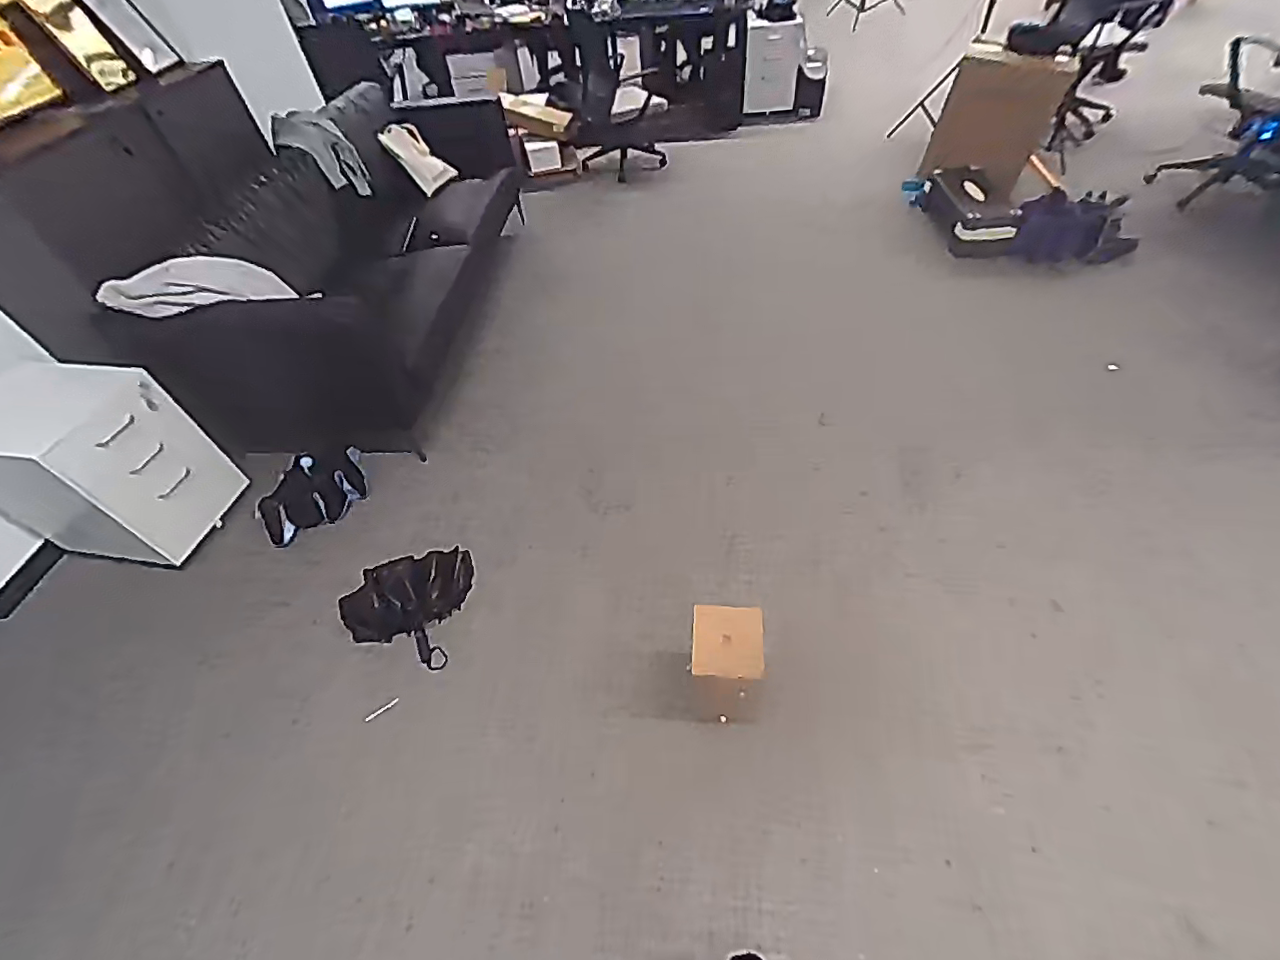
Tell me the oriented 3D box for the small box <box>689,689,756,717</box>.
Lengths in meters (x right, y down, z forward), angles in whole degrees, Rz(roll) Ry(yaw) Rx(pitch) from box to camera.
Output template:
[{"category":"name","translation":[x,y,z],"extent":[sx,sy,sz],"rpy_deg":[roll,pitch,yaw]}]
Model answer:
[{"category":"small box","translation":[0.216,0.516,1.442],"extent":[0.168,0.176,0.179],"rpy_deg":[0,52,6]}]

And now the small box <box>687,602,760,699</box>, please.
[{"category":"small box","translation":[0.201,0.418,1.314],"extent":[0.168,0.176,0.179],"rpy_deg":[1,50,6]}]
